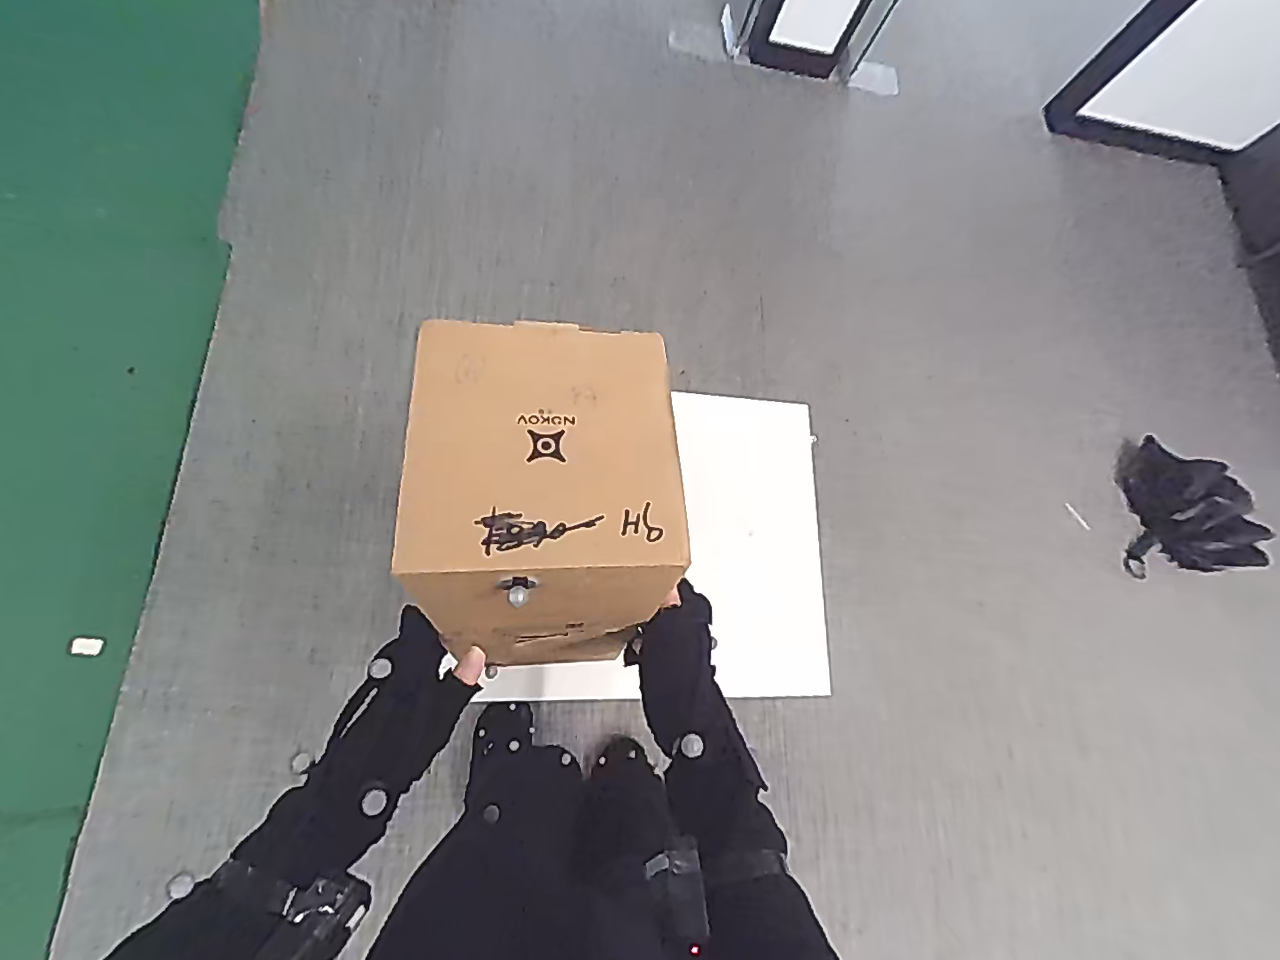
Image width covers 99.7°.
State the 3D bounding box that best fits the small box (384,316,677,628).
[{"bbox_3d":[-0.078,0.004,0.411,0.168,0.176,0.179,0,63,-11],"label":"small box"}]

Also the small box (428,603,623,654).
[{"bbox_3d":[-0.109,0.077,0.553,0.168,0.176,0.179,0,63,-11],"label":"small box"}]
